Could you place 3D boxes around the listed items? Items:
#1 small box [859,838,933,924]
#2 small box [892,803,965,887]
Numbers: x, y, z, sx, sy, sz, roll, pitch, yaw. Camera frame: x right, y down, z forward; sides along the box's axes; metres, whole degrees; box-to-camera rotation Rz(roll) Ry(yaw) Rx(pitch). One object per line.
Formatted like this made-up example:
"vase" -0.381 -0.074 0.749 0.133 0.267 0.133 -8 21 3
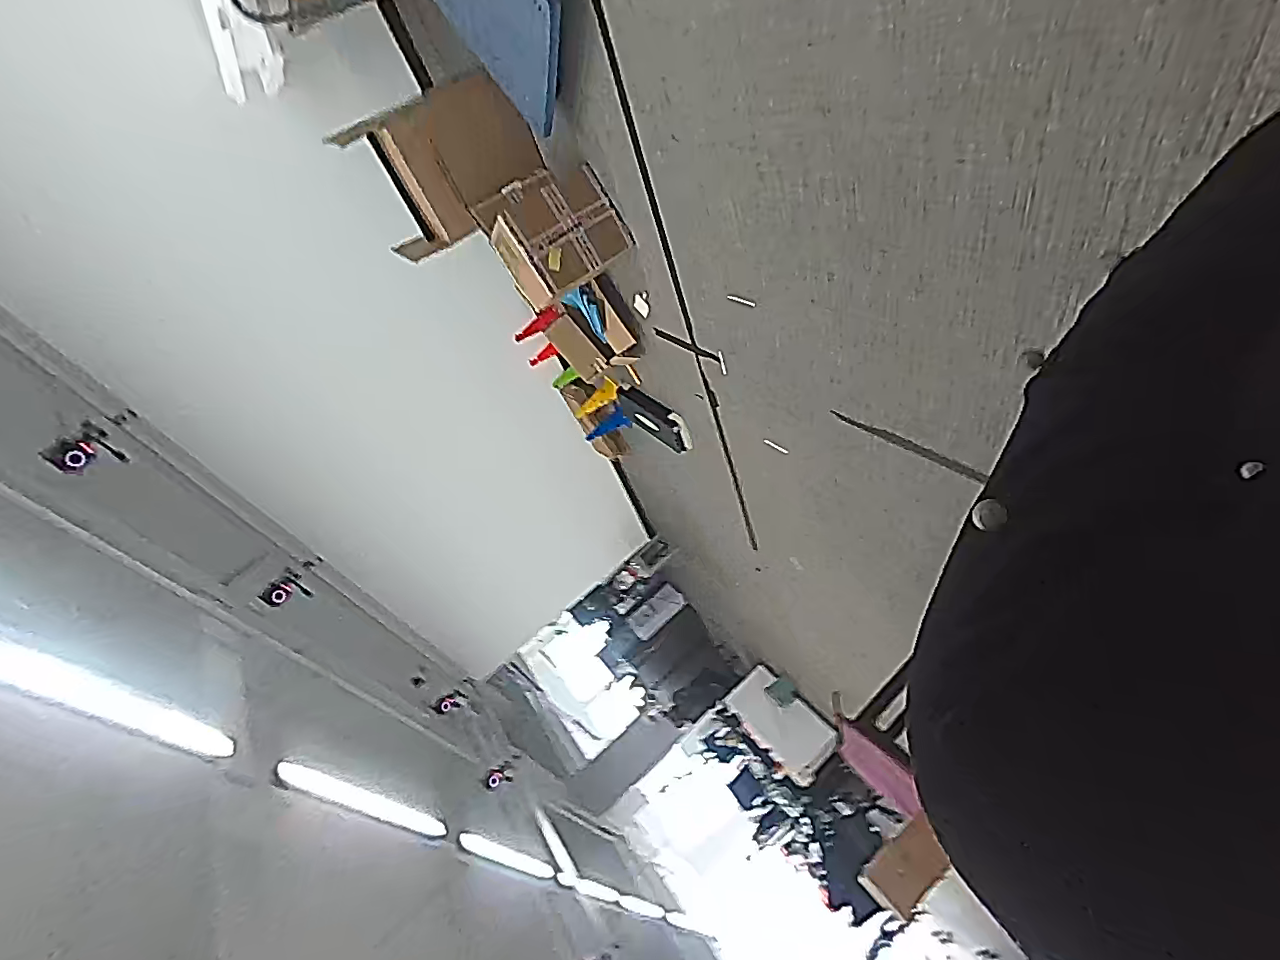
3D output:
"small box" 0.876 1.372 1.852 0.168 0.176 0.179 37 160 41
"small box" 1.004 1.274 1.889 0.168 0.176 0.179 38 160 41
